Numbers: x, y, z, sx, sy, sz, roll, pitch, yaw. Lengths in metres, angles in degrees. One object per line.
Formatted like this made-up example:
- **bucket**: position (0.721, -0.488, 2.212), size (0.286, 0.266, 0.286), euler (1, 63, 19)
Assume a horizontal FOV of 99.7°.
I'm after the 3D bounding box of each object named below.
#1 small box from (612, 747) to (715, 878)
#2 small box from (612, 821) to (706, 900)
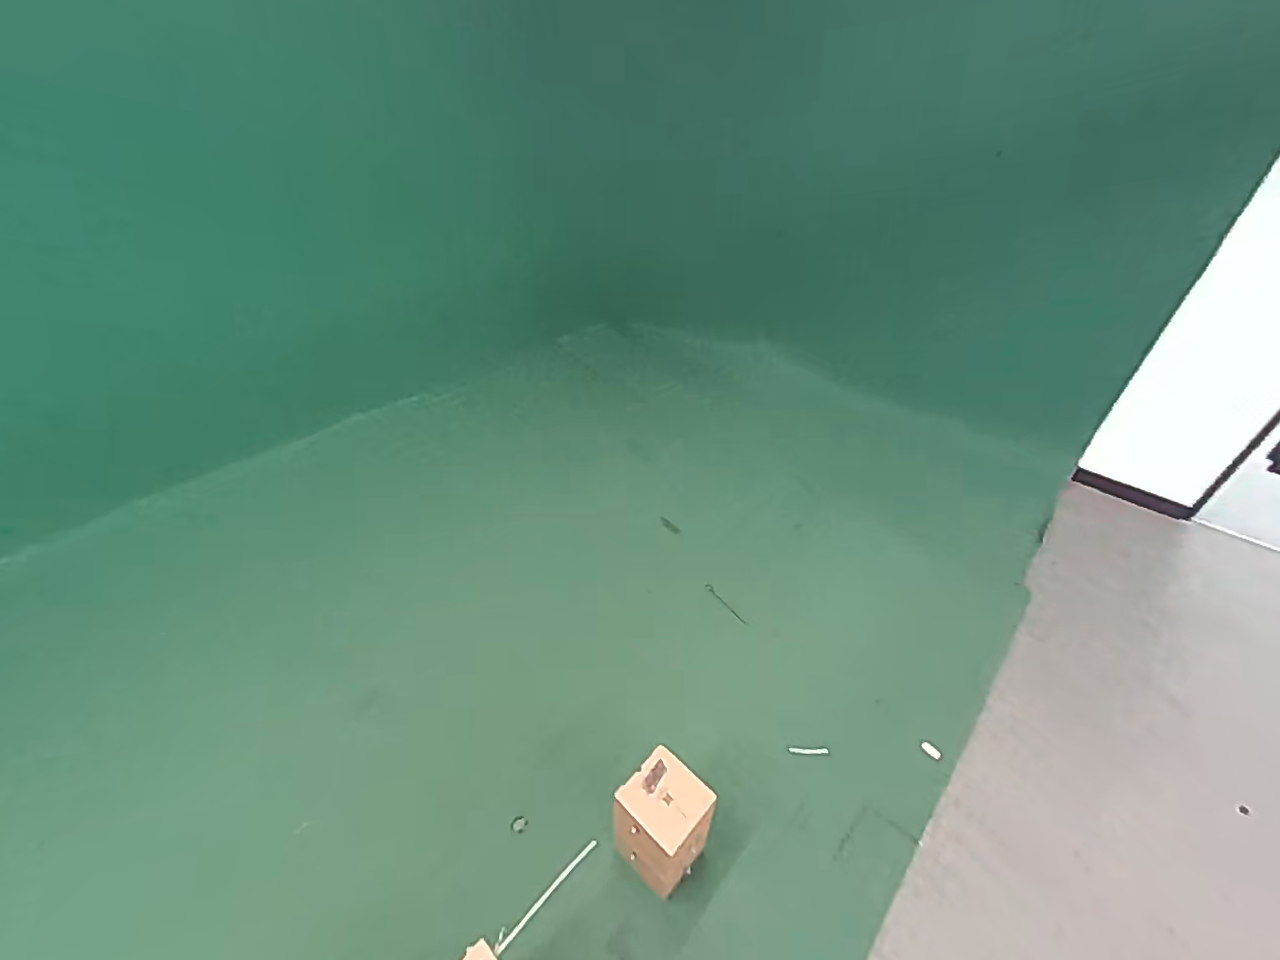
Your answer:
- **small box**: position (0.049, 0.781, 1.268), size (0.179, 0.176, 0.168), euler (32, 47, 31)
- **small box**: position (0.042, 0.910, 1.369), size (0.179, 0.176, 0.168), euler (32, 47, 31)
